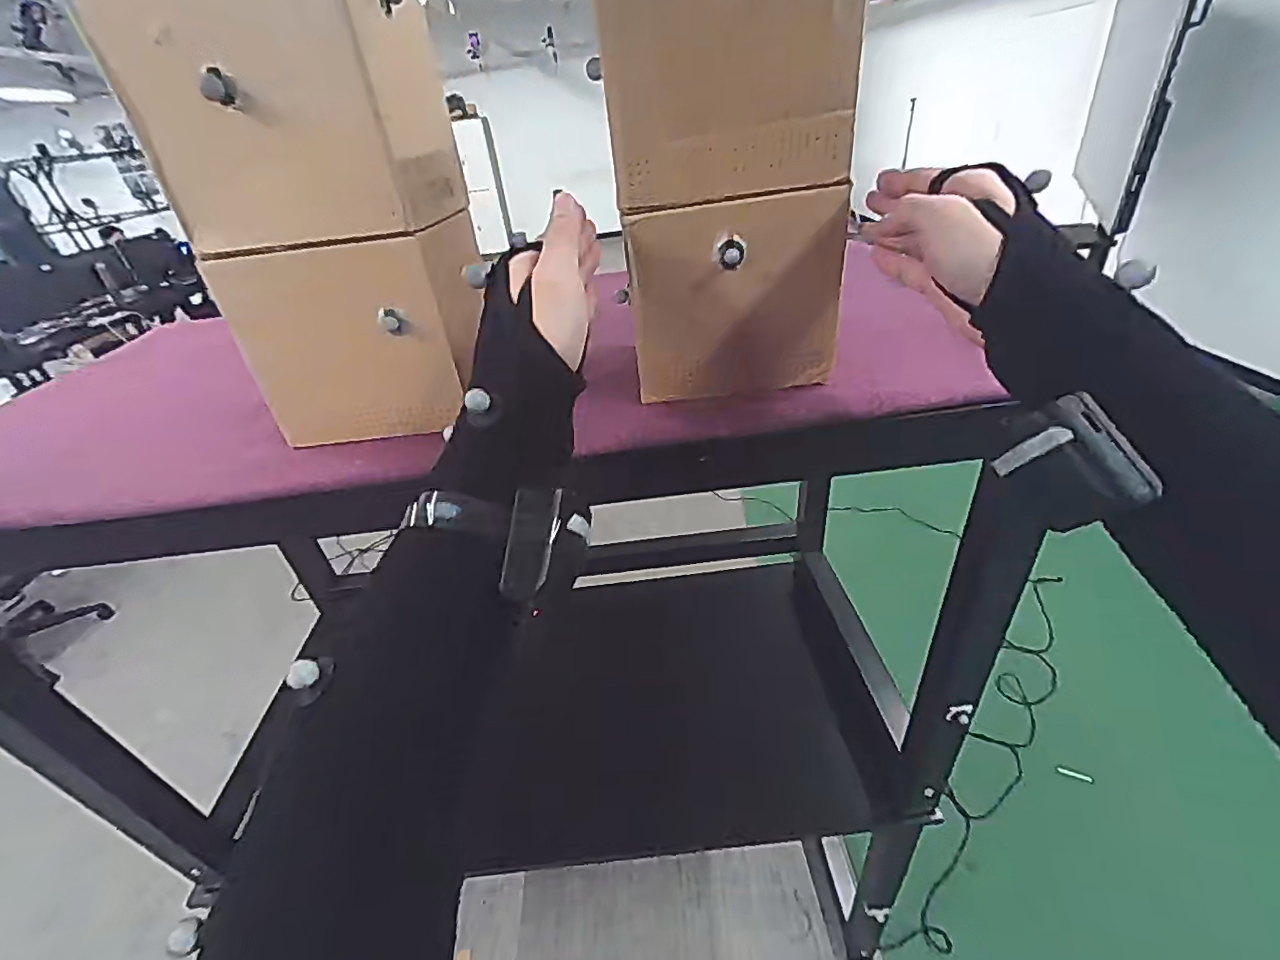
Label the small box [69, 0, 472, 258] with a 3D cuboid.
[{"bbox_3d":[-0.258,-0.285,0.430,0.179,0.176,0.168,-6,33,3],"label":"small box"}]

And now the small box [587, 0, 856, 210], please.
[{"bbox_3d":[0.058,-0.317,0.420,0.179,0.176,0.168,-5,36,4],"label":"small box"}]

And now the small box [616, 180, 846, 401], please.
[{"bbox_3d":[0.078,-0.185,0.511,0.179,0.176,0.168,-5,35,4],"label":"small box"}]
